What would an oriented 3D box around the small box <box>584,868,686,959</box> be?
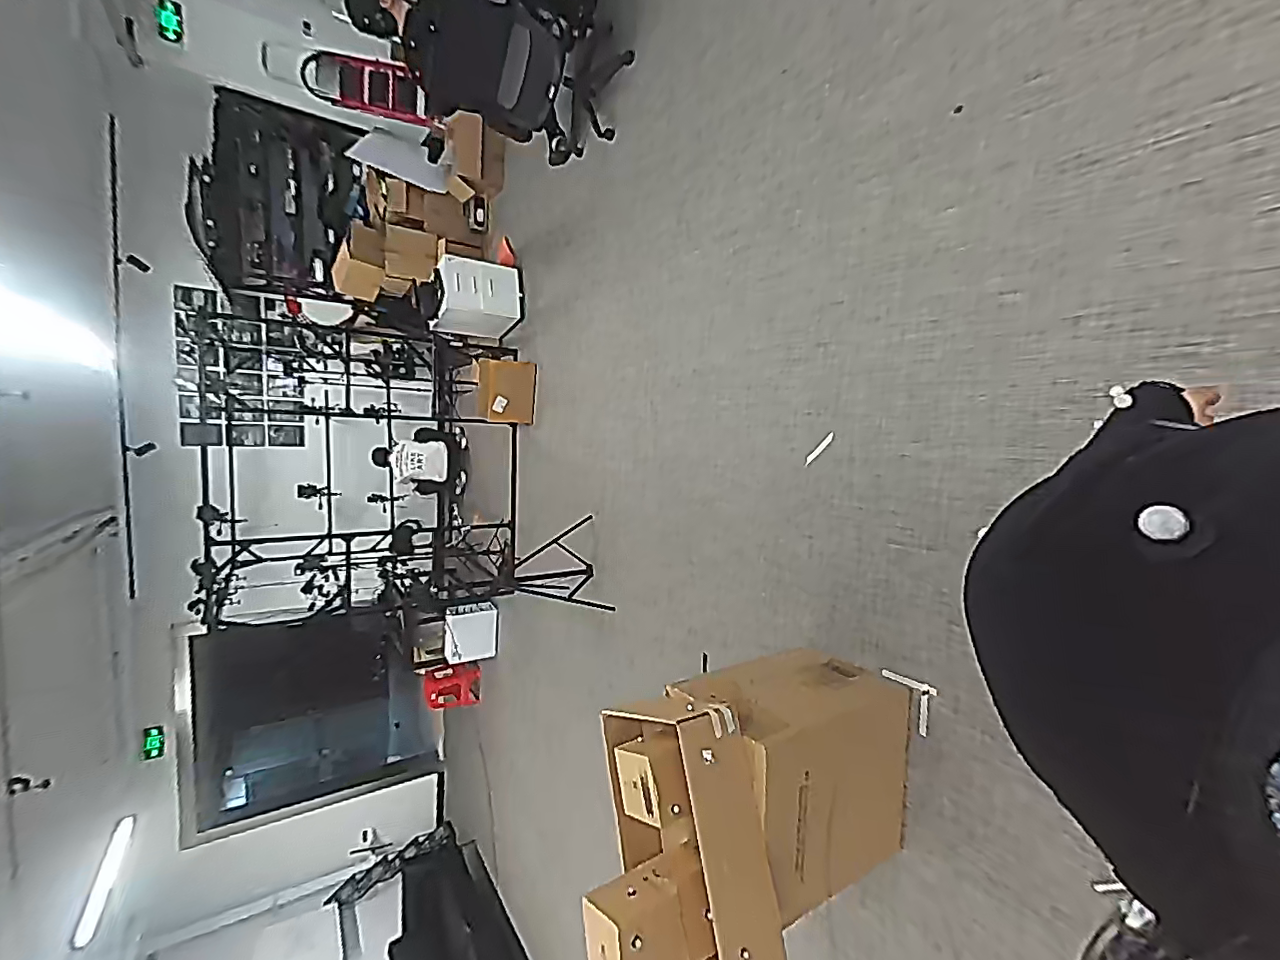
[{"bbox_3d":[-0.011,1.048,1.250,0.168,0.176,0.179,-20,75,54],"label":"small box"}]
